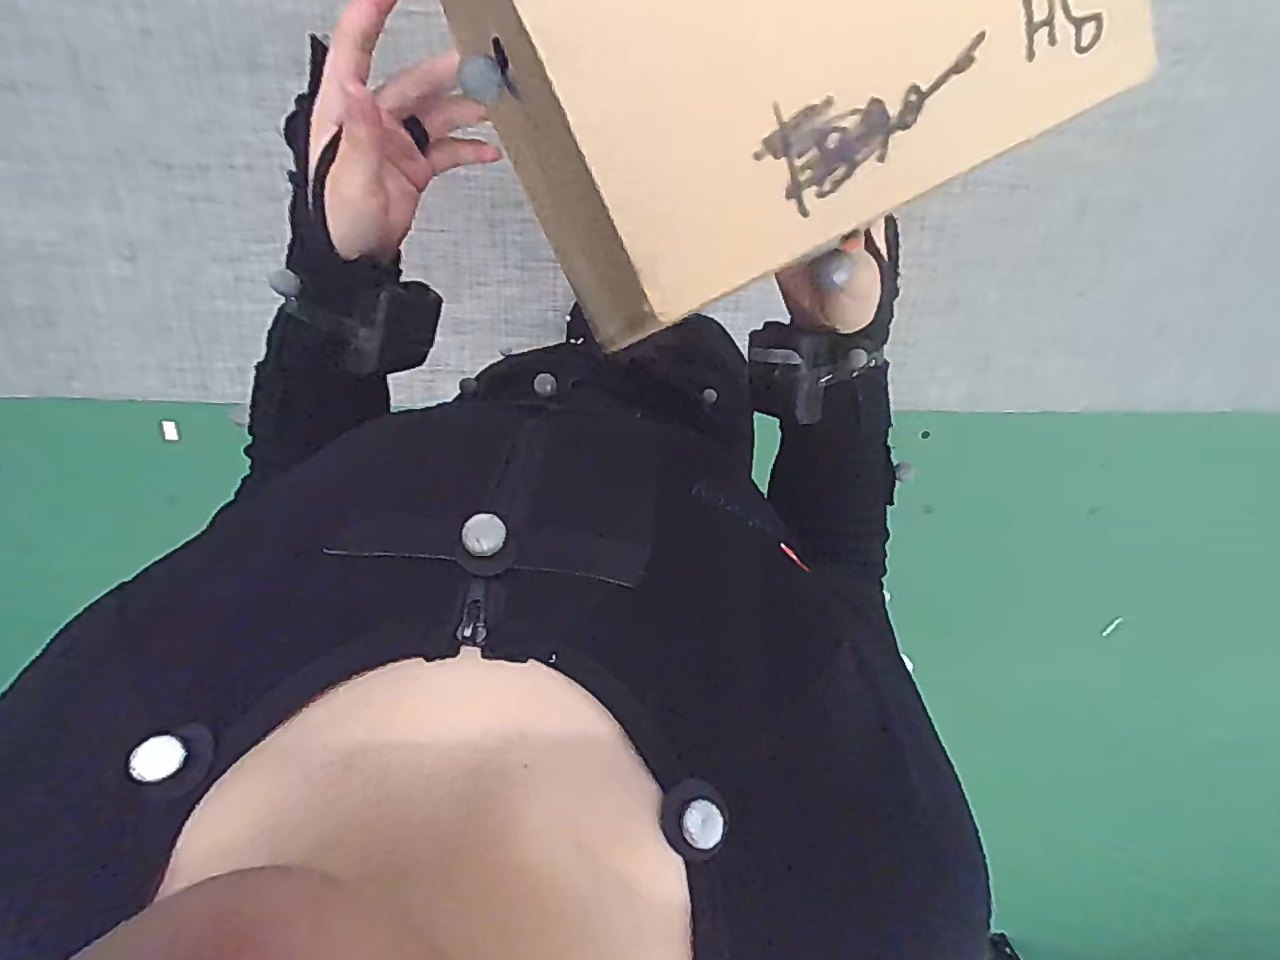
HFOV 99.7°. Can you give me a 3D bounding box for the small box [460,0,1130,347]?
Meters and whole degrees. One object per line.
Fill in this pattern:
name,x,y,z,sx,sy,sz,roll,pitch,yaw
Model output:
small box,0.031,-0.171,0.224,0.168,0.176,0.179,-28,103,-3
